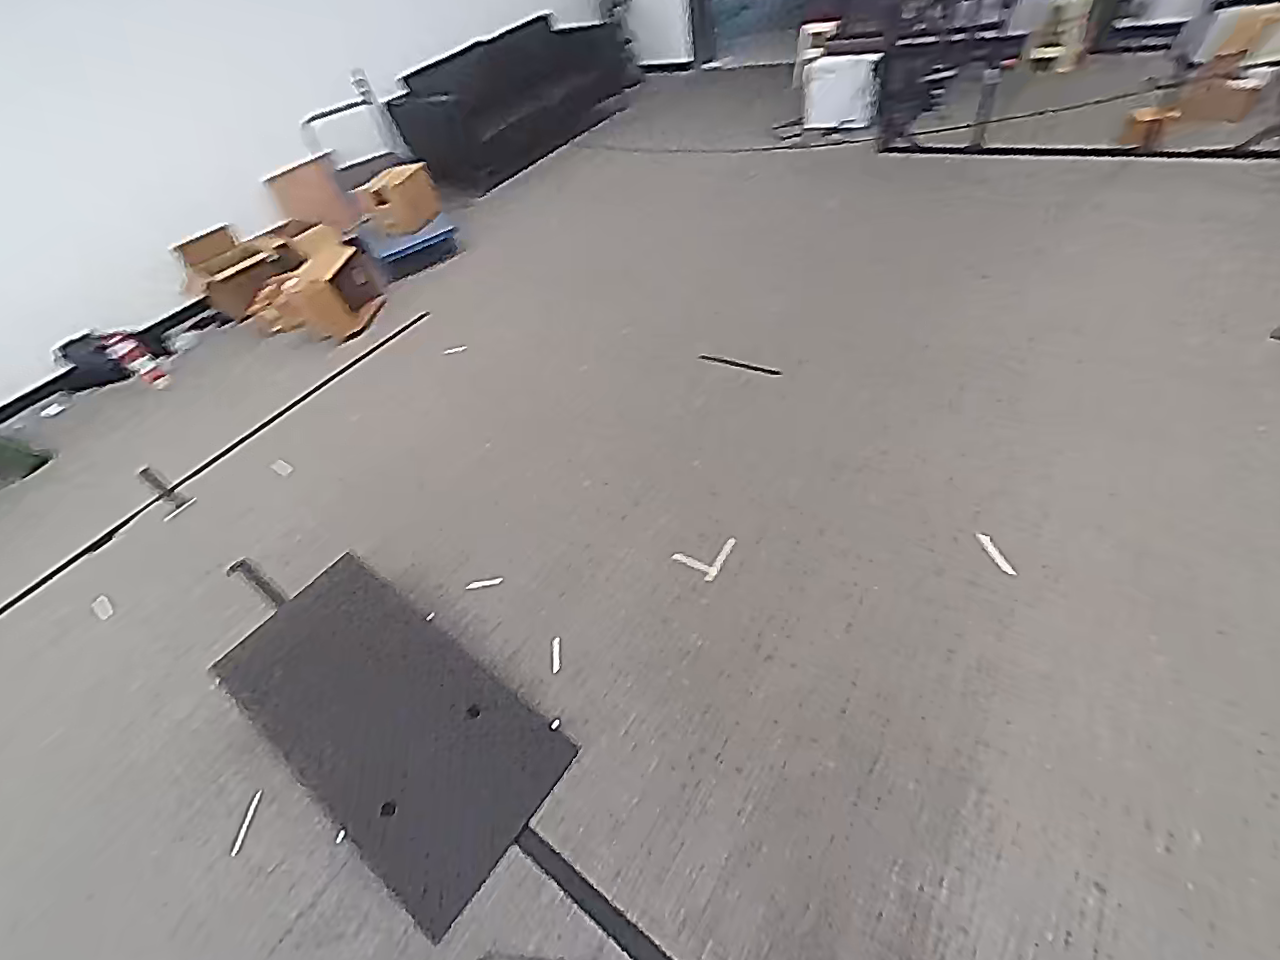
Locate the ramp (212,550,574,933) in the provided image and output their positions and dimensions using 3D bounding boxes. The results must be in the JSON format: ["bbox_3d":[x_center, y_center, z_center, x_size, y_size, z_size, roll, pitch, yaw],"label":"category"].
[{"bbox_3d":[-0.703,0.622,1.497,0.991,0.206,0.509,23,56,30],"label":"ramp"}]
